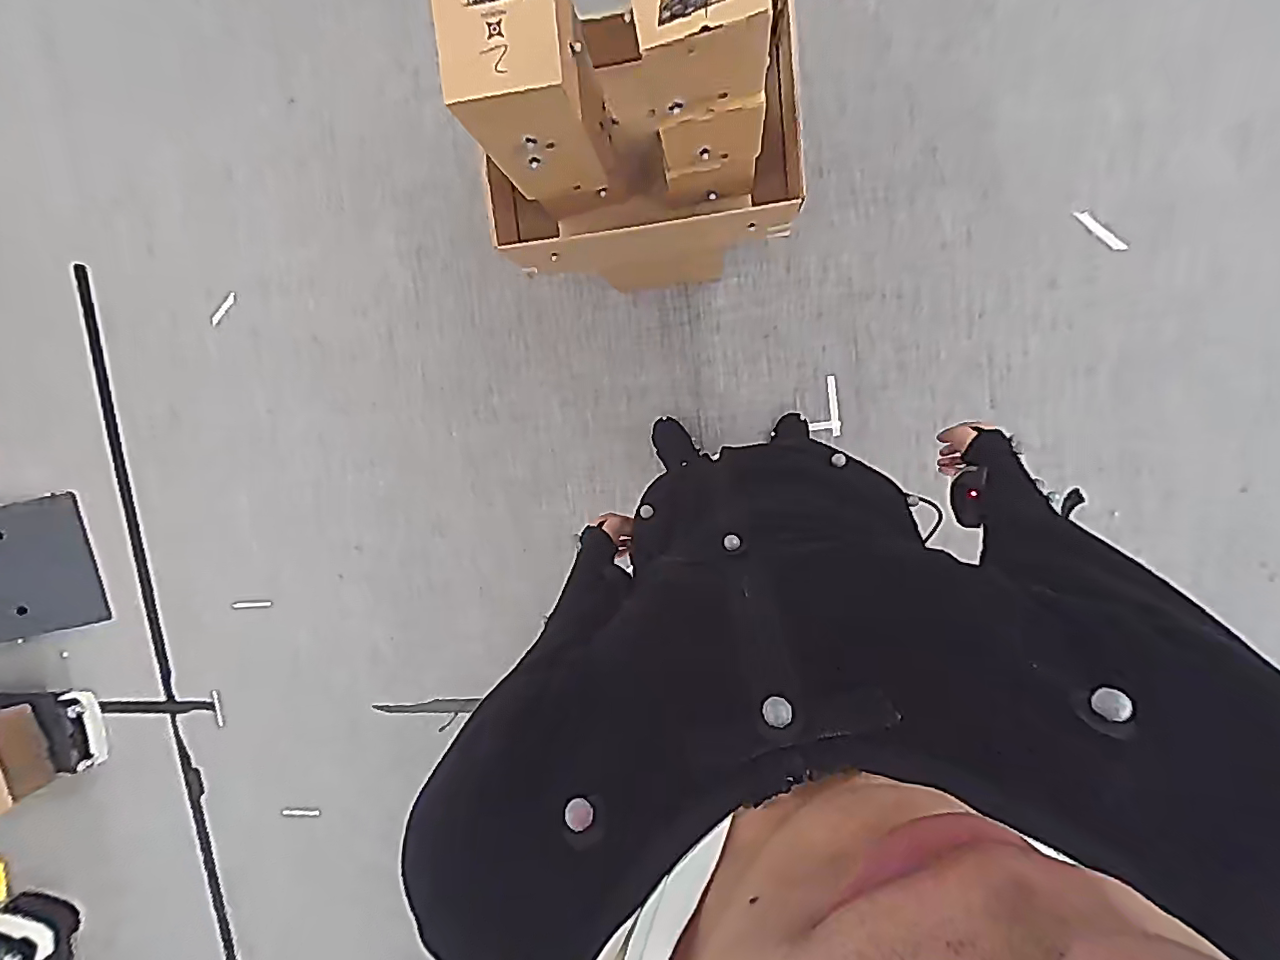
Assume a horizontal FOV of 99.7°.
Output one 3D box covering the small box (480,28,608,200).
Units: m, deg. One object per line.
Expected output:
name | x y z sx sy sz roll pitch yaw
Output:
small box | -0.157 -0.617 0.933 0.168 0.176 0.179 -4 95 10

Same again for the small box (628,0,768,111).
small box | 0.073 -0.638 0.730 0.168 0.176 0.179 -11 95 9

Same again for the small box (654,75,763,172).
small box | 0.105 -0.647 0.892 0.168 0.176 0.179 -8 96 9
